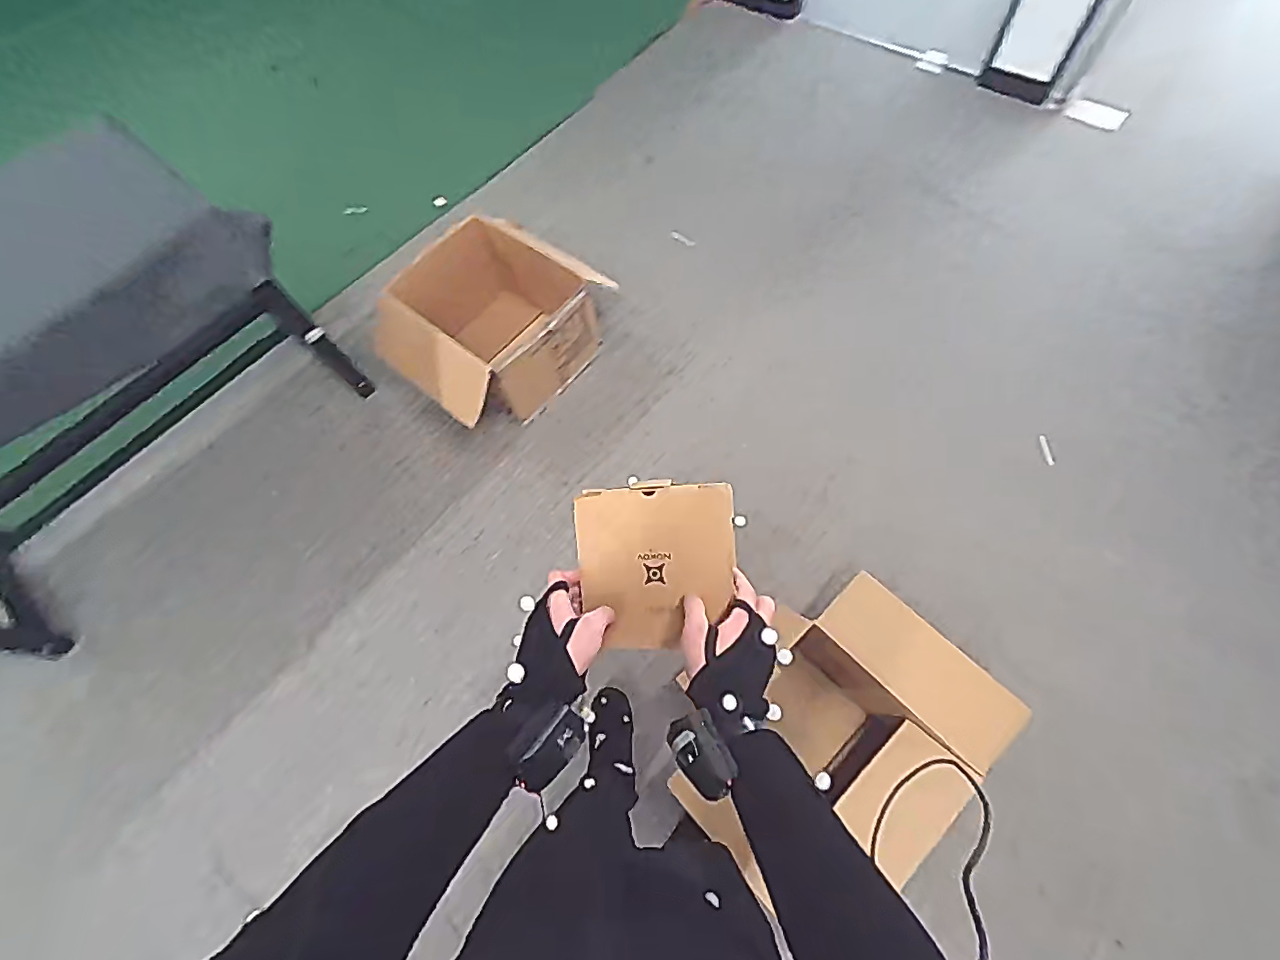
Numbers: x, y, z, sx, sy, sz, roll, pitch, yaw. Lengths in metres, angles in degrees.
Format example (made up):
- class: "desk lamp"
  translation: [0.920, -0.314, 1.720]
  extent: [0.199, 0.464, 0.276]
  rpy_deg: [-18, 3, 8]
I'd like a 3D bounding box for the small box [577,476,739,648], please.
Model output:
- class: "small box"
  translation: [0.028, 0.091, 0.646]
  extent: [0.168, 0.176, 0.179]
  rpy_deg: [-4, 88, 10]
